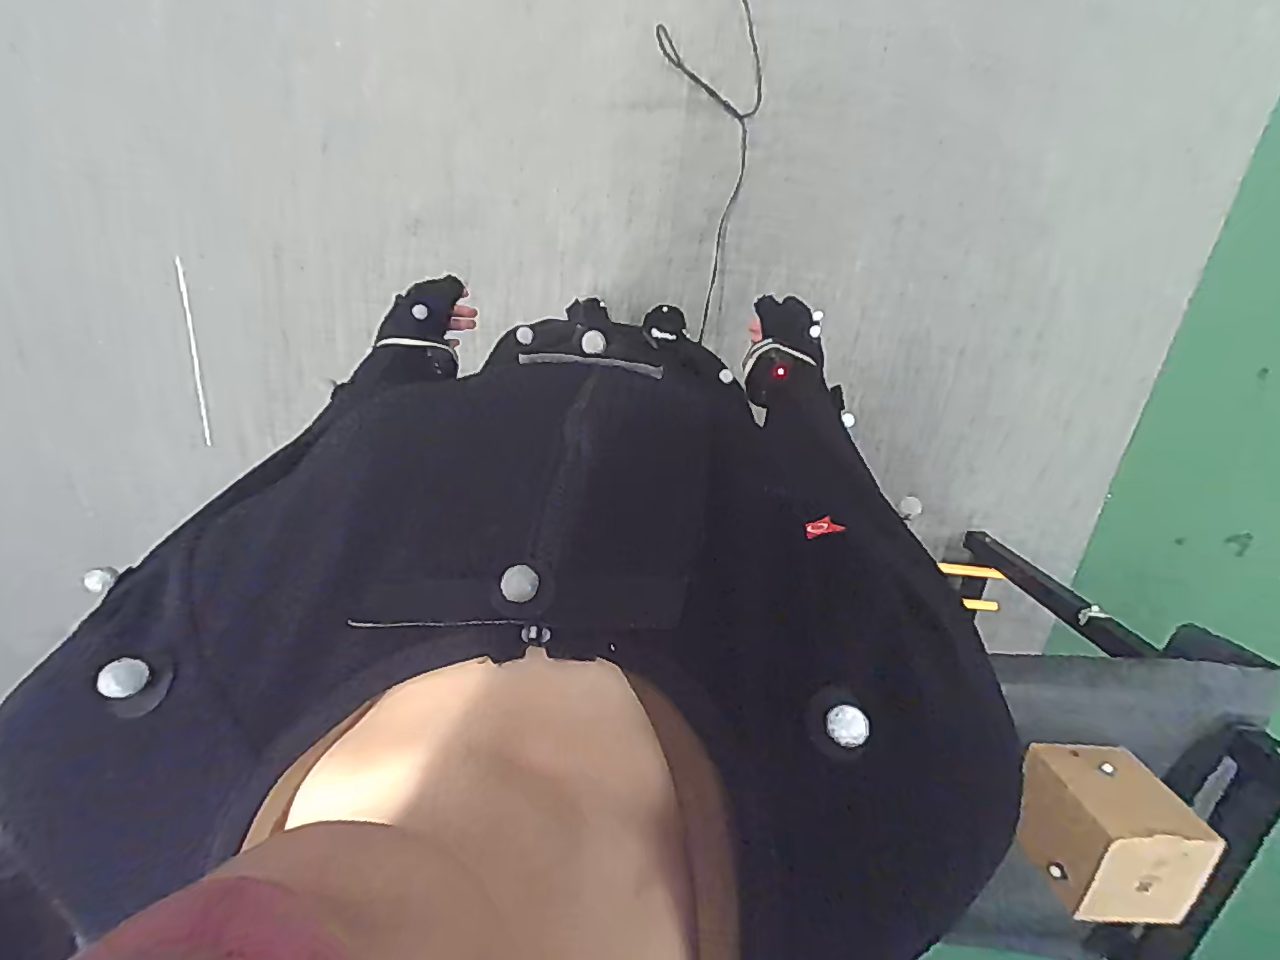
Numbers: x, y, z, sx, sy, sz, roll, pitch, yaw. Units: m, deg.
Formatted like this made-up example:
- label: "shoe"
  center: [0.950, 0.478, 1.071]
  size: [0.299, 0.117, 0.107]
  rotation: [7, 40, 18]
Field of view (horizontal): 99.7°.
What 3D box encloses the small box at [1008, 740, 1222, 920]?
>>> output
- label: "small box"
  center: [0.728, 0.547, 0.856]
  size: [0.168, 0.176, 0.179]
  rotation: [3, 109, -2]
